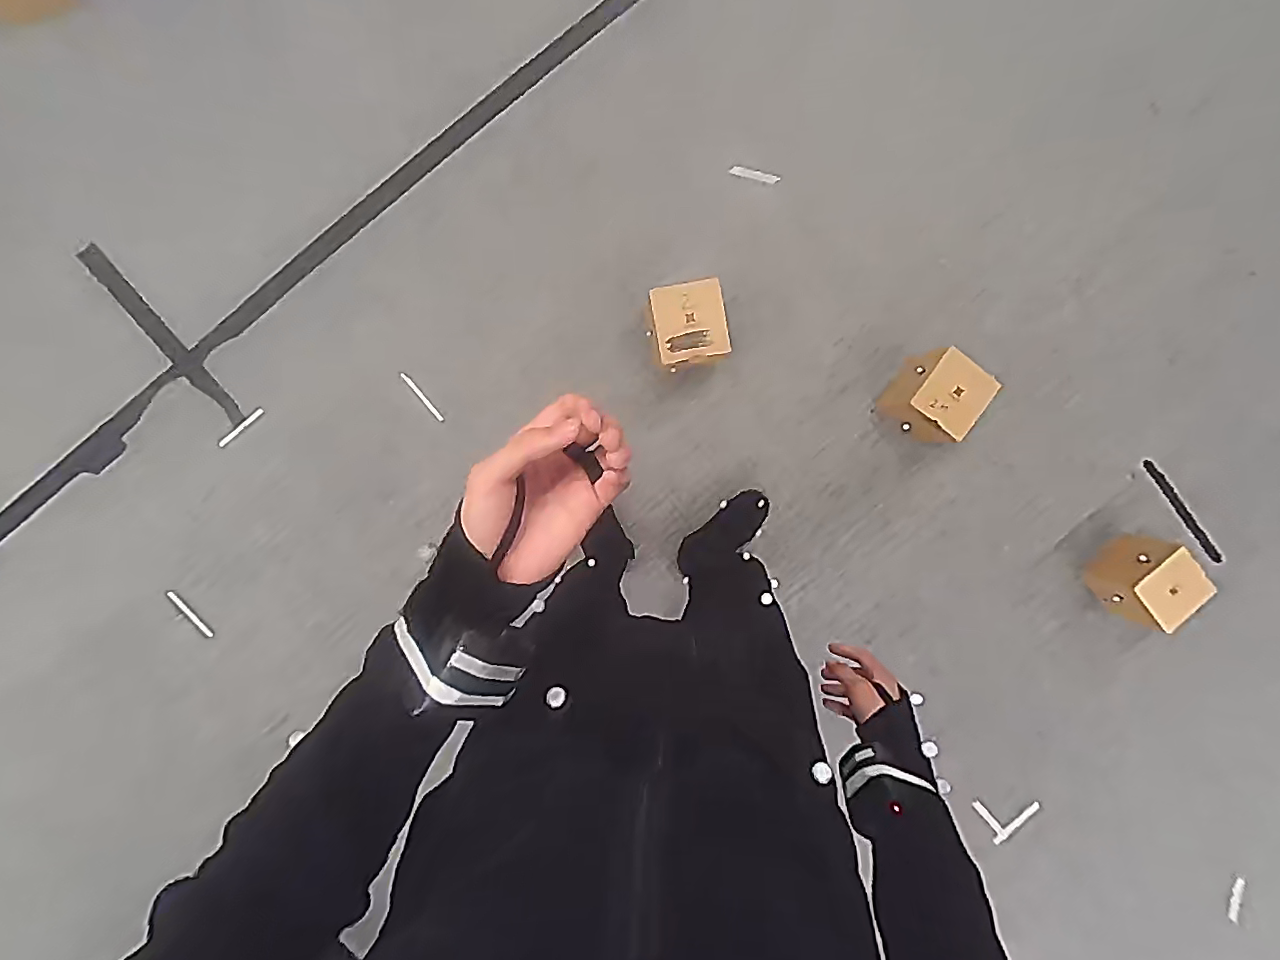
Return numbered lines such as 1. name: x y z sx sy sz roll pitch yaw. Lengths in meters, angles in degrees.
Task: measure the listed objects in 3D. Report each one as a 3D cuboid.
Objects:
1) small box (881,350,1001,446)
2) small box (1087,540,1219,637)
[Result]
1. small box: 0.757 -0.204 1.380 0.168 0.176 0.179 36 91 -6
2. small box: 1.367 0.285 1.460 0.179 0.176 0.168 -41 95 -1
